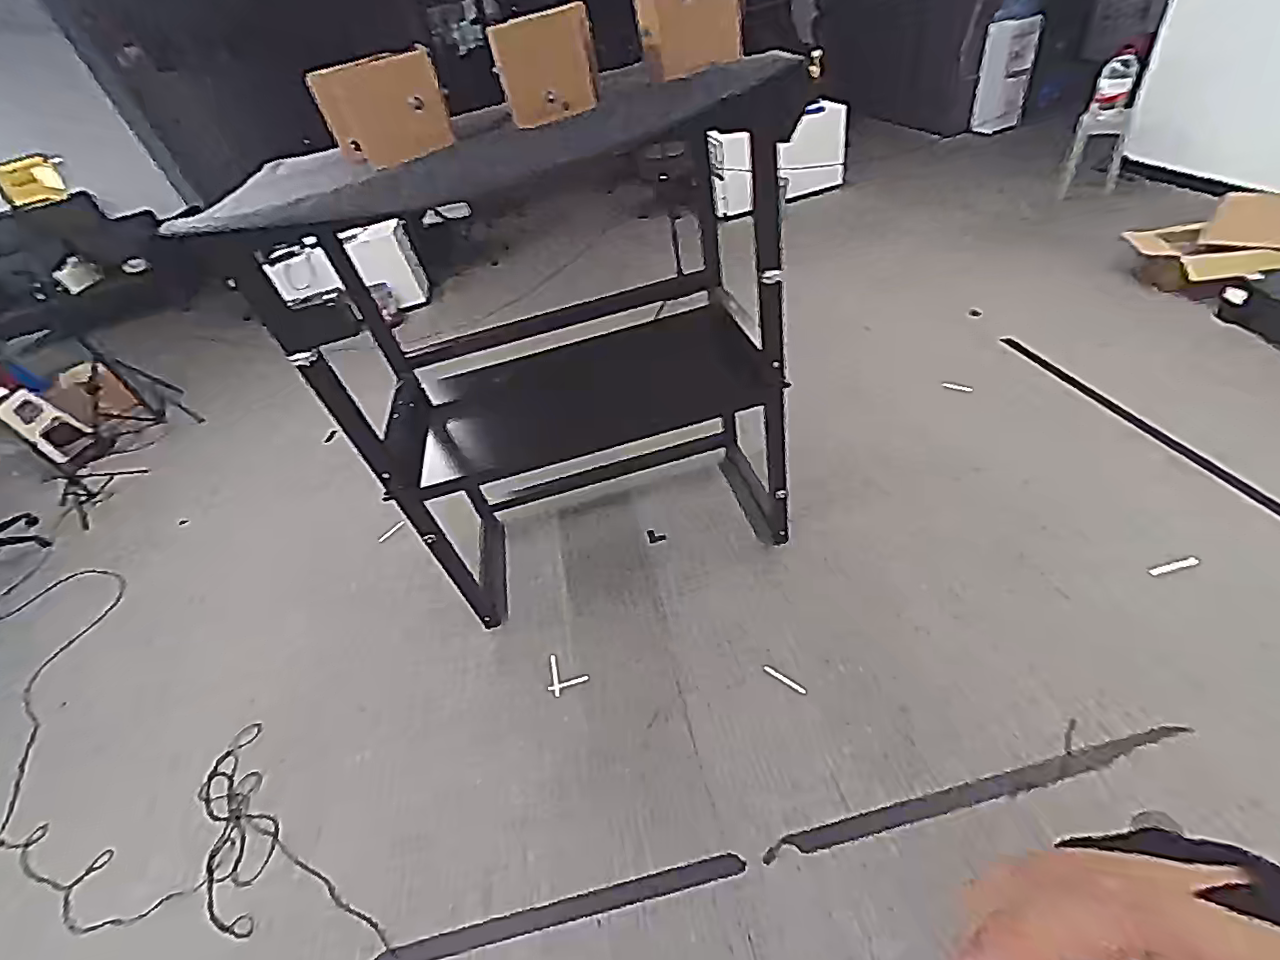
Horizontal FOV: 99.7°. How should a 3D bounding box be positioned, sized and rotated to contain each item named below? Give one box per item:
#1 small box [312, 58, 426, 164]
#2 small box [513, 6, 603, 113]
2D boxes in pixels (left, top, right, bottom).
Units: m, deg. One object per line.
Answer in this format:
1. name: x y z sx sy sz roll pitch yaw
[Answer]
1. small box: -0.622 -0.861 1.268 0.168 0.176 0.179 -16 41 -1
2. small box: -0.193 -0.989 1.279 0.168 0.176 0.179 -16 41 0
